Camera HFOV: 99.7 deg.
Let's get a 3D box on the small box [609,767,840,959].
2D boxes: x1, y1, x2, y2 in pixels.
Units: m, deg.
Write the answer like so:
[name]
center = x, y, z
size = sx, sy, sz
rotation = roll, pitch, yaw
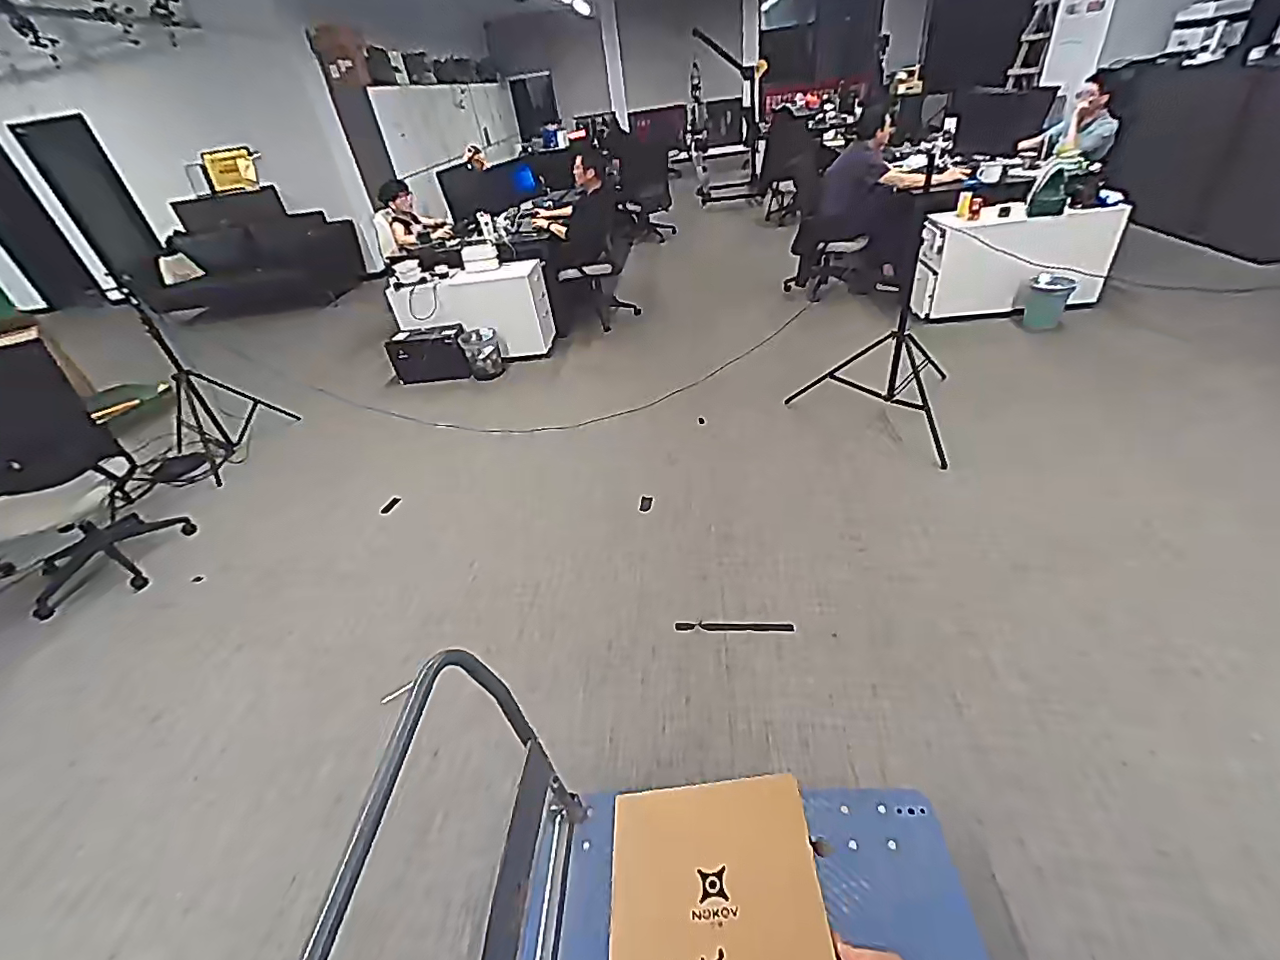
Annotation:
[small box]
center = 0.078, 0.381, 0.459
size = 0.168, 0.176, 0.179
rotation = -13, 34, 9
